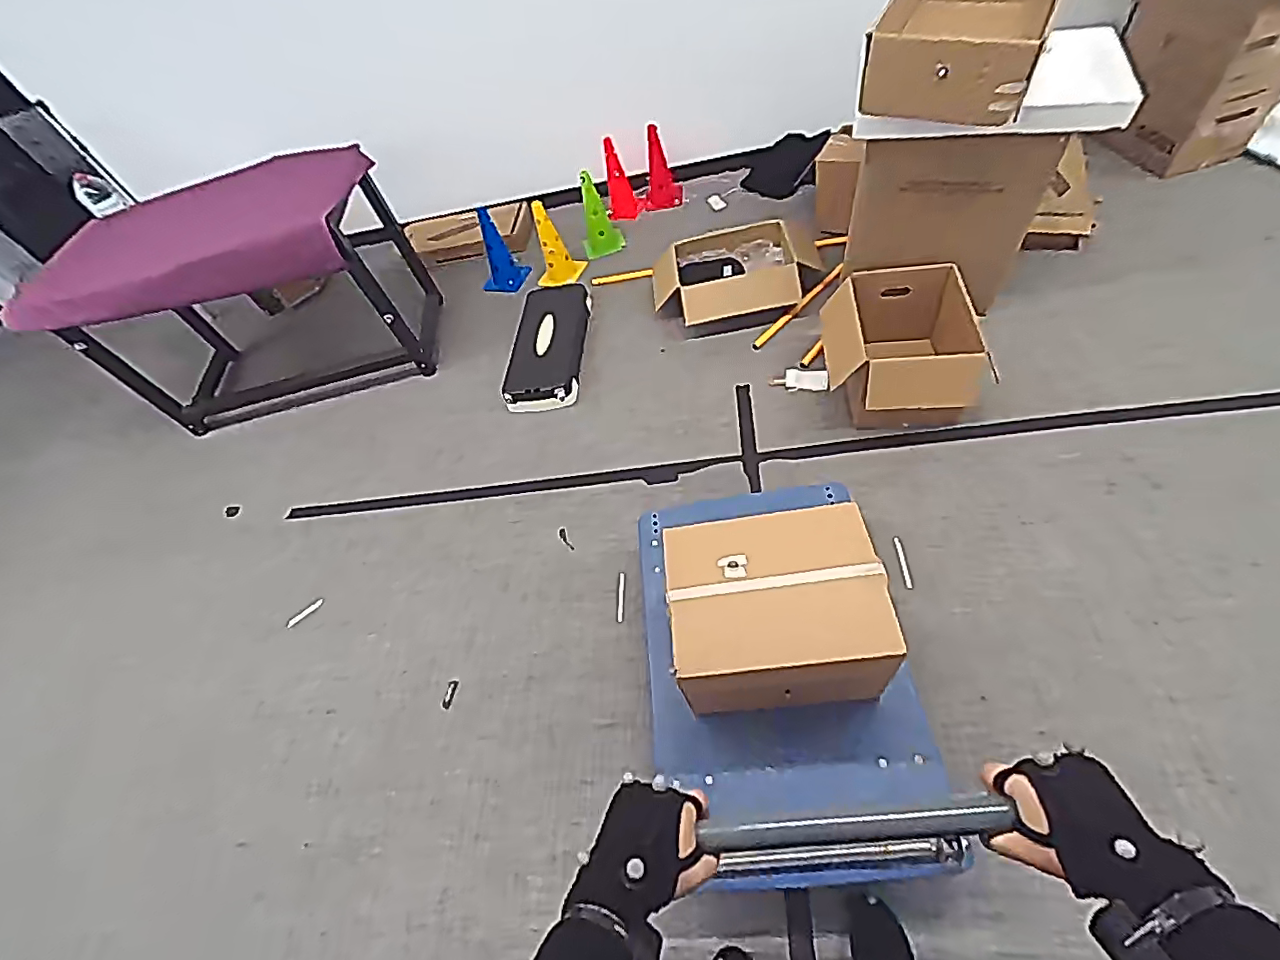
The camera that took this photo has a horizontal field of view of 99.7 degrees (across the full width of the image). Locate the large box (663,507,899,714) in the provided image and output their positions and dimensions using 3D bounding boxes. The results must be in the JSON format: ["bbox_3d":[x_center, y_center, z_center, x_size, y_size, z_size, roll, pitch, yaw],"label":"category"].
[{"bbox_3d":[0.285,0.297,1.176,0.408,0.320,0.320,-10,53,8],"label":"large box"}]
